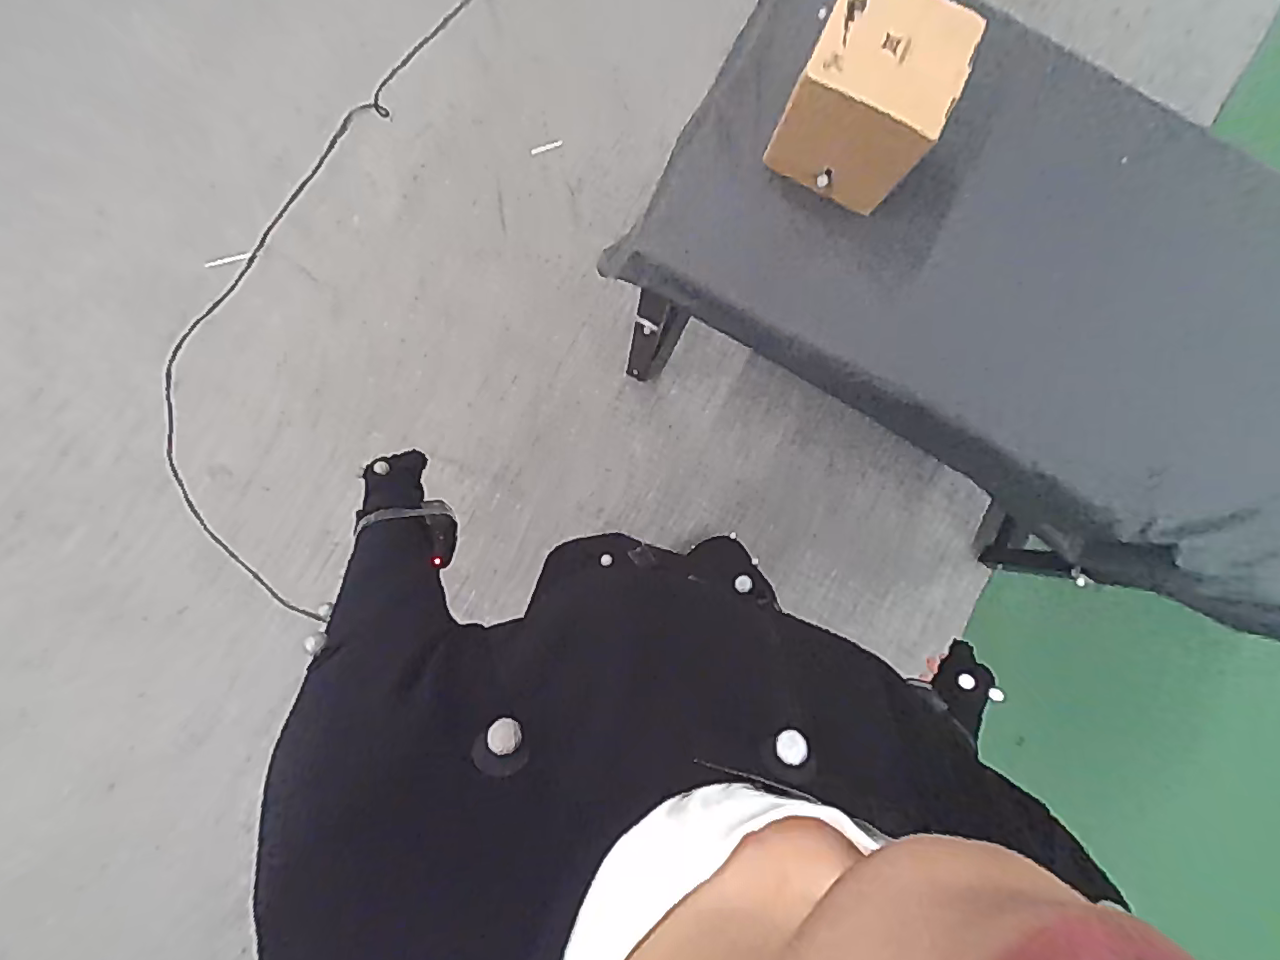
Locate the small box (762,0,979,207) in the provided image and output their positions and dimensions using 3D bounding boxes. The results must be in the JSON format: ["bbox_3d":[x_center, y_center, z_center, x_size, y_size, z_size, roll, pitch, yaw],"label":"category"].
[{"bbox_3d":[0.290,-0.500,0.717,0.179,0.176,0.168,25,85,-4],"label":"small box"}]
